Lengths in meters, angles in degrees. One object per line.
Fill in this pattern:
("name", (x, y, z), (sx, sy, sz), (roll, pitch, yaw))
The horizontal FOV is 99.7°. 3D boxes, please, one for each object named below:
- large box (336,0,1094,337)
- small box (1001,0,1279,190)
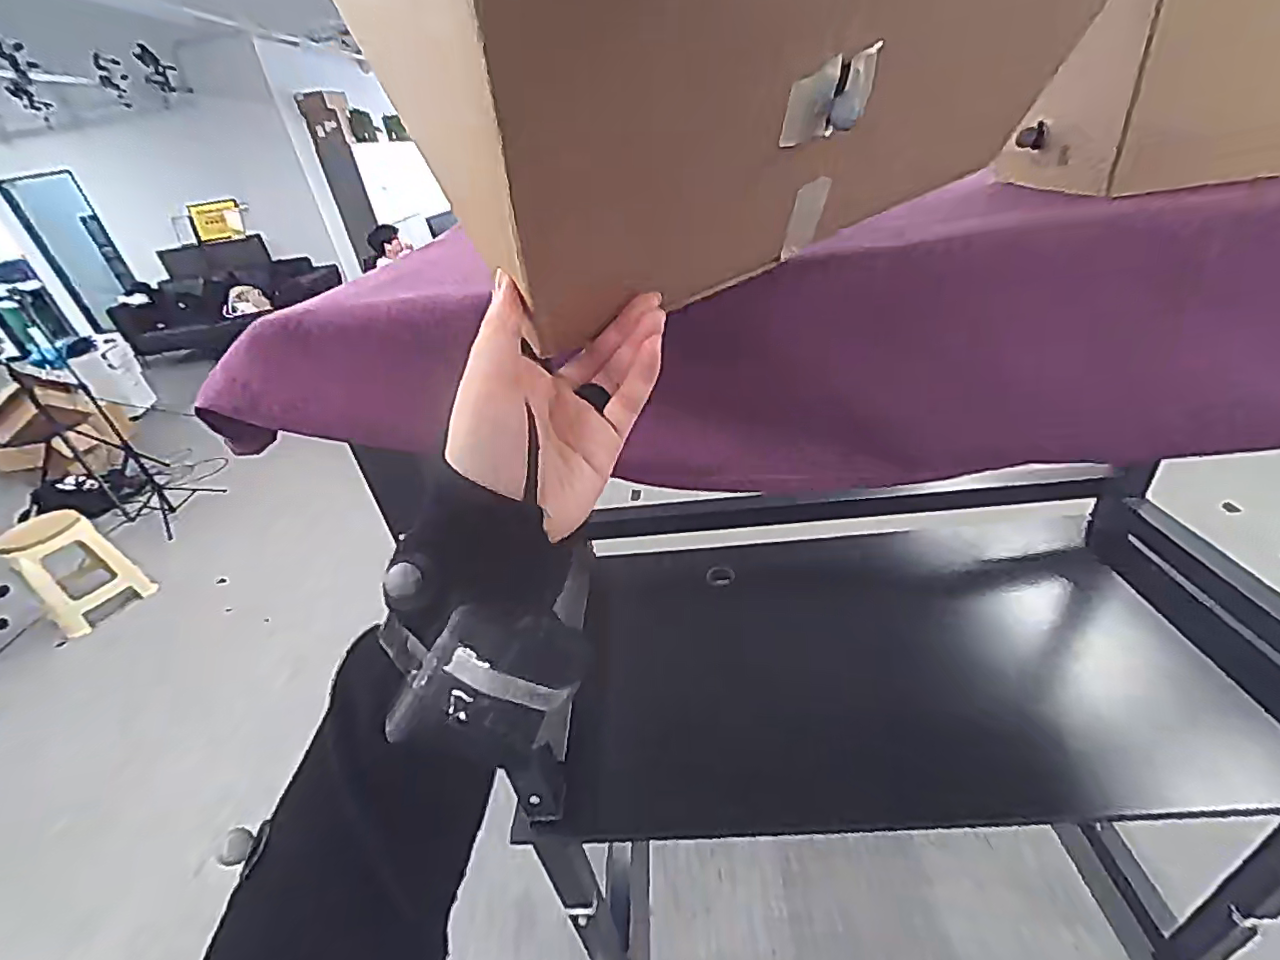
("large box", (-0.007, -0.346, 0.225), (0.320, 0.320, 0.408), (-27, 70, -13))
("small box", (0.406, -0.323, 0.392), (0.179, 0.176, 0.168), (-5, 31, 7))
